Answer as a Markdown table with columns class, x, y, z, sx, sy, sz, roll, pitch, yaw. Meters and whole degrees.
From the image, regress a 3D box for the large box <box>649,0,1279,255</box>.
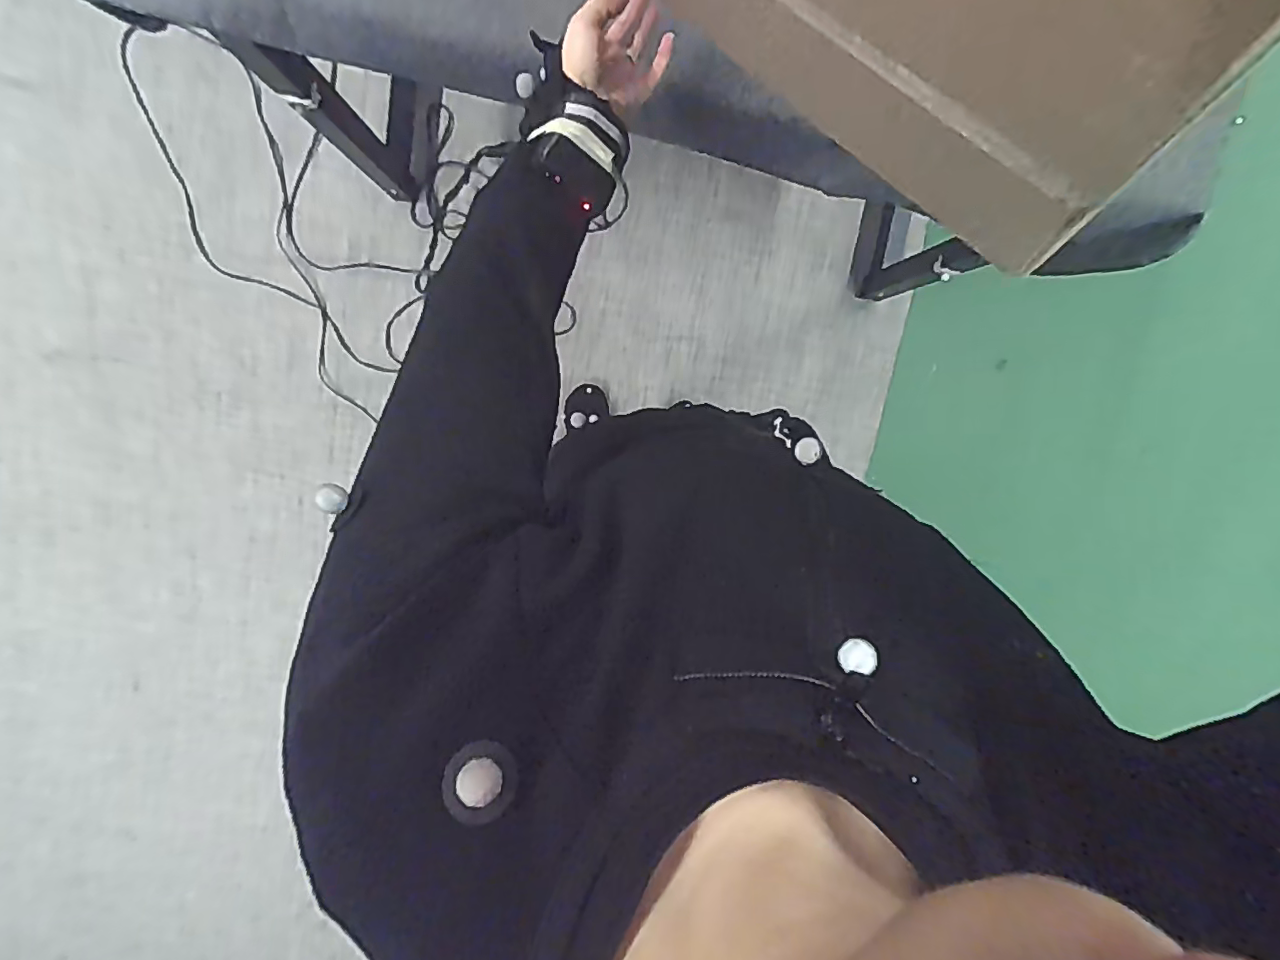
| class | x | y | z | sx | sy | sz | roll | pitch | yaw |
| --- | --- | --- | --- | --- | --- | --- | --- | --- | --- |
| large box | 0.144 | -0.364 | 0.213 | 0.408 | 0.320 | 0.320 | 45 | 112 | 13 |
